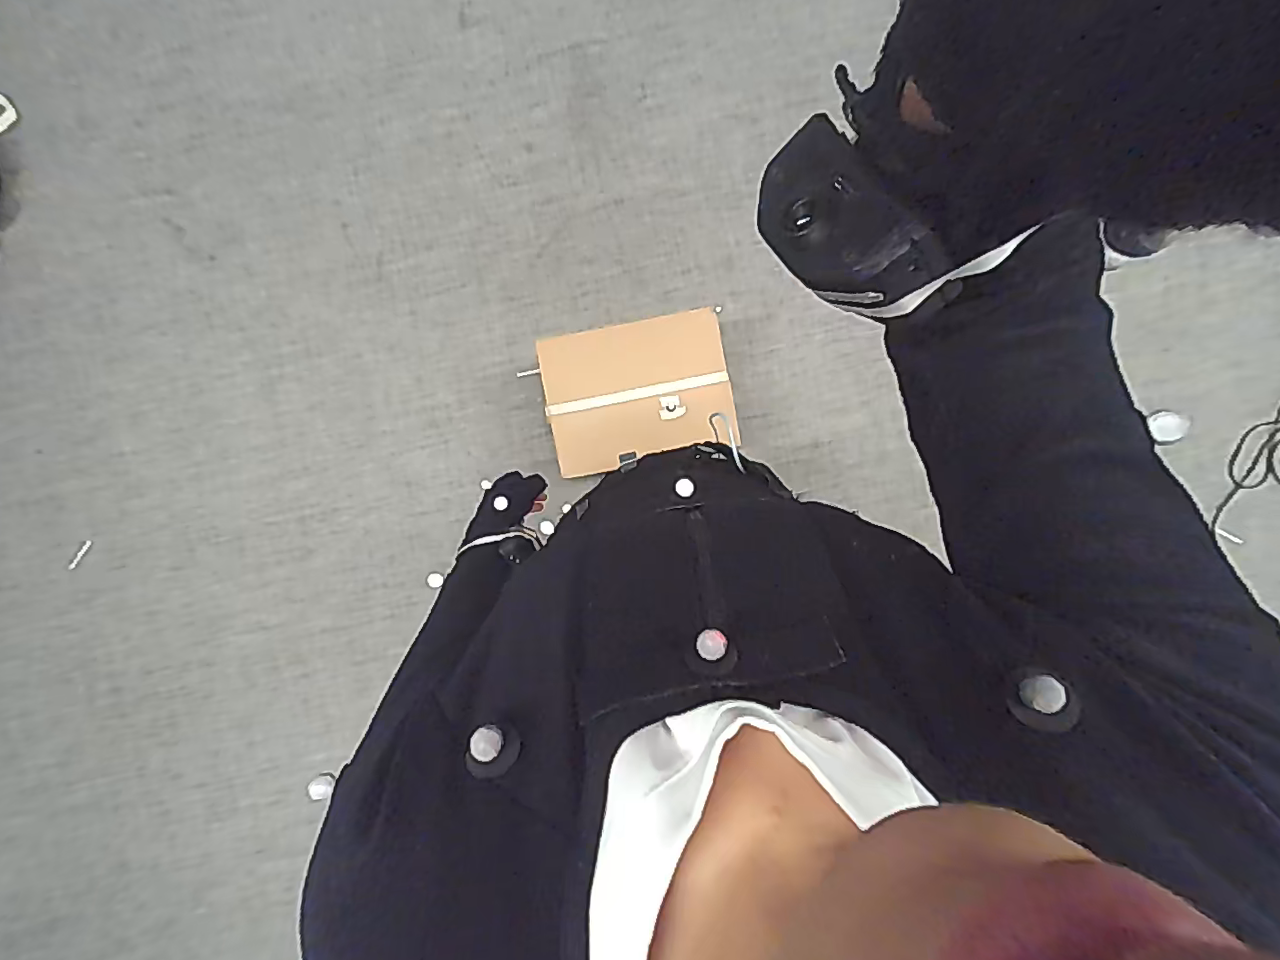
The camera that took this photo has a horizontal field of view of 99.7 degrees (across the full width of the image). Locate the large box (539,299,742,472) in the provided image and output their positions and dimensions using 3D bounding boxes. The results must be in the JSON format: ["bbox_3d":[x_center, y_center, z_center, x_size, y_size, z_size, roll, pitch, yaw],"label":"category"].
[{"bbox_3d":[0.002,-0.210,1.330,0.408,0.320,0.320,-11,92,1],"label":"large box"}]
